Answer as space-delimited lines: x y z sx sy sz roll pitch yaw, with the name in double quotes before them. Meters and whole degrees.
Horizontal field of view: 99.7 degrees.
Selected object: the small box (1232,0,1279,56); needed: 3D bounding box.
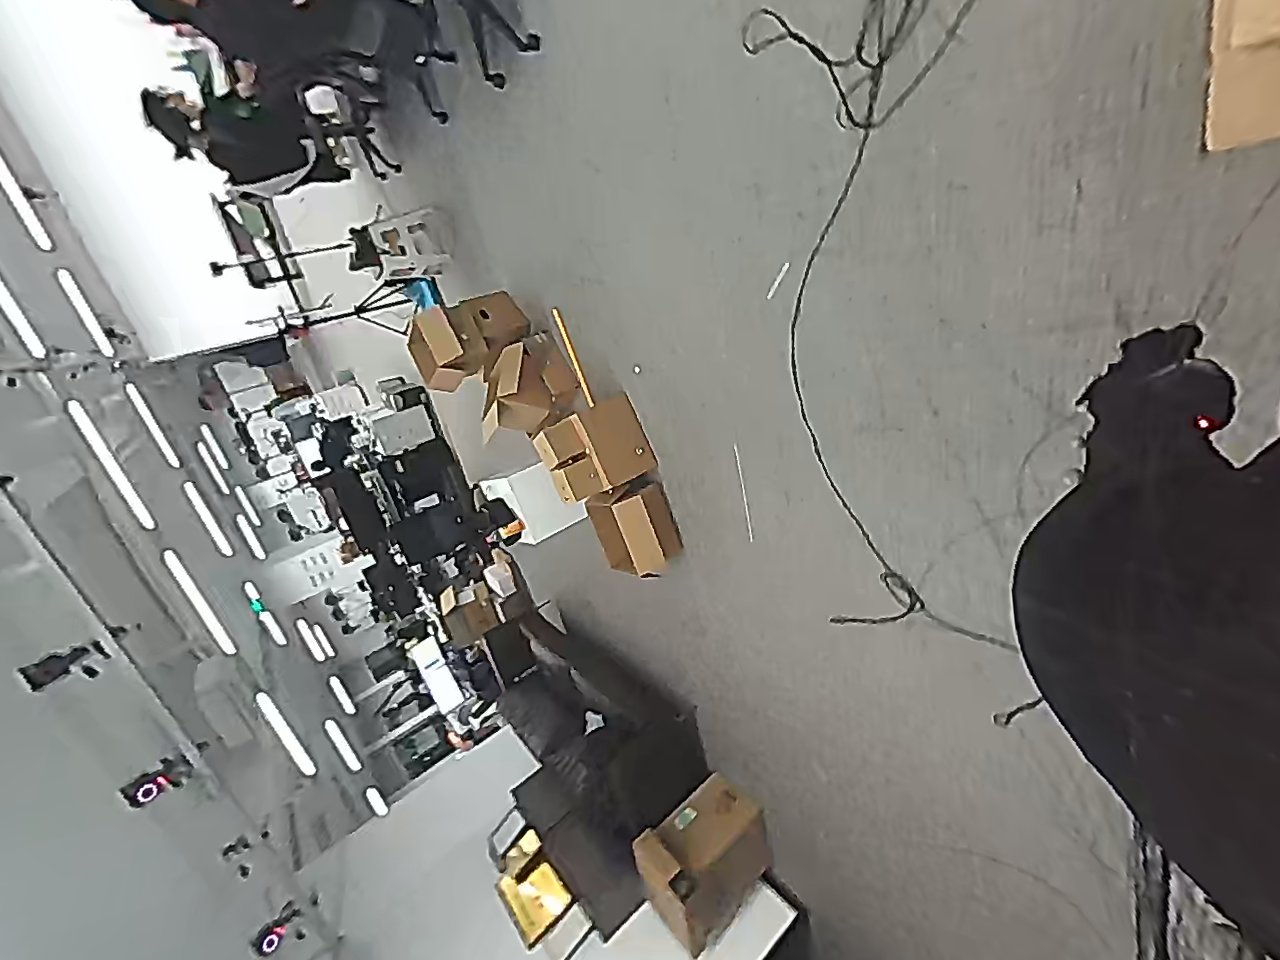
"small box" 0.861 -0.640 0.645 0.168 0.176 0.179 19 128 52
